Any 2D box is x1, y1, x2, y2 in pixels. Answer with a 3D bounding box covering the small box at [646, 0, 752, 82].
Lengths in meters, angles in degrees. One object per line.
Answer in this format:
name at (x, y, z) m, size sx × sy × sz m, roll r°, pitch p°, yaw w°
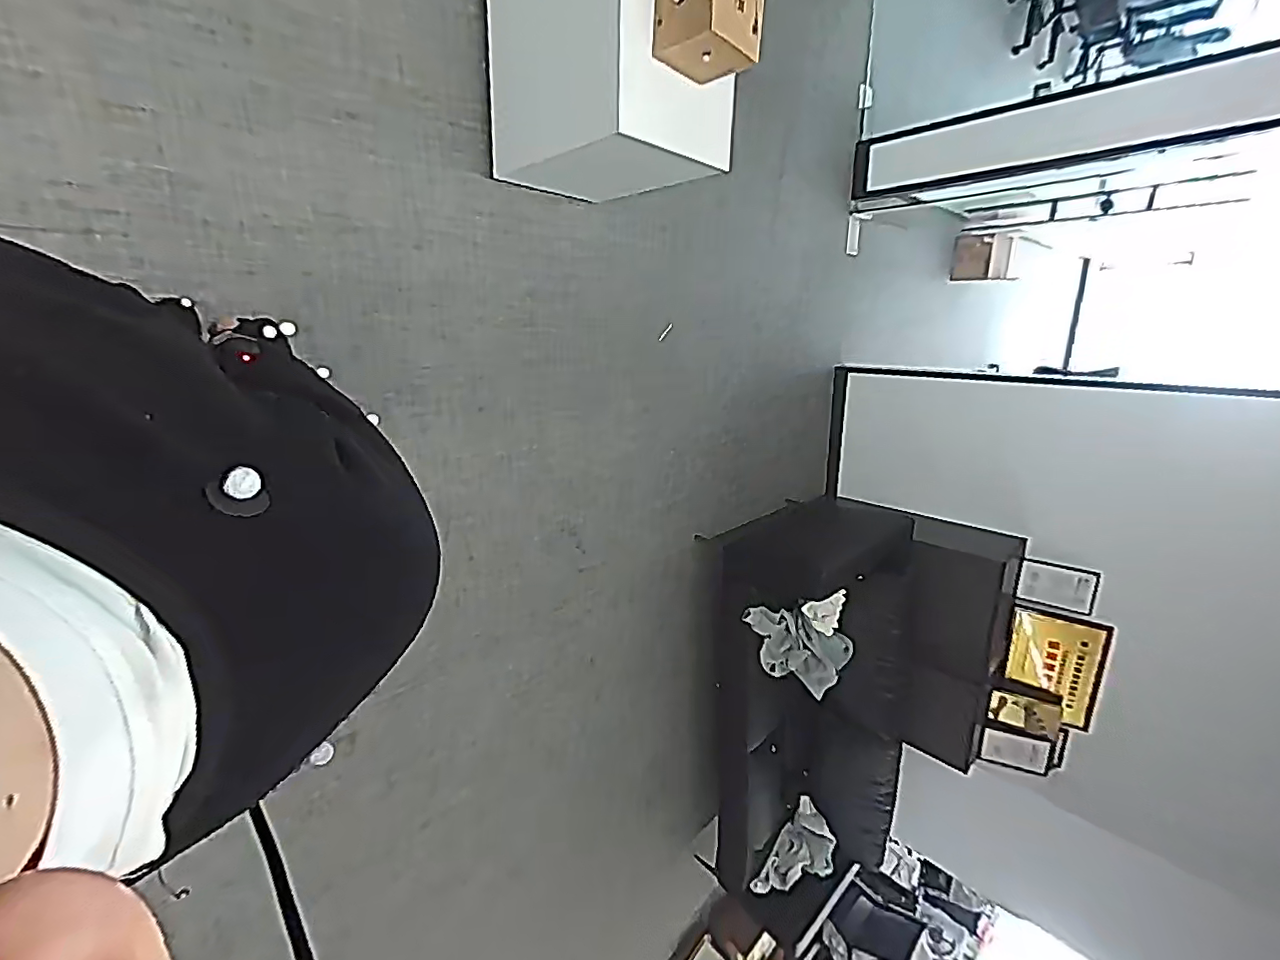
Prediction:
small box at (0.128, -1.021, 1.198) m, size 0.179 × 0.176 × 0.168 m, roll -13°, pitch 111°, yaw -44°
